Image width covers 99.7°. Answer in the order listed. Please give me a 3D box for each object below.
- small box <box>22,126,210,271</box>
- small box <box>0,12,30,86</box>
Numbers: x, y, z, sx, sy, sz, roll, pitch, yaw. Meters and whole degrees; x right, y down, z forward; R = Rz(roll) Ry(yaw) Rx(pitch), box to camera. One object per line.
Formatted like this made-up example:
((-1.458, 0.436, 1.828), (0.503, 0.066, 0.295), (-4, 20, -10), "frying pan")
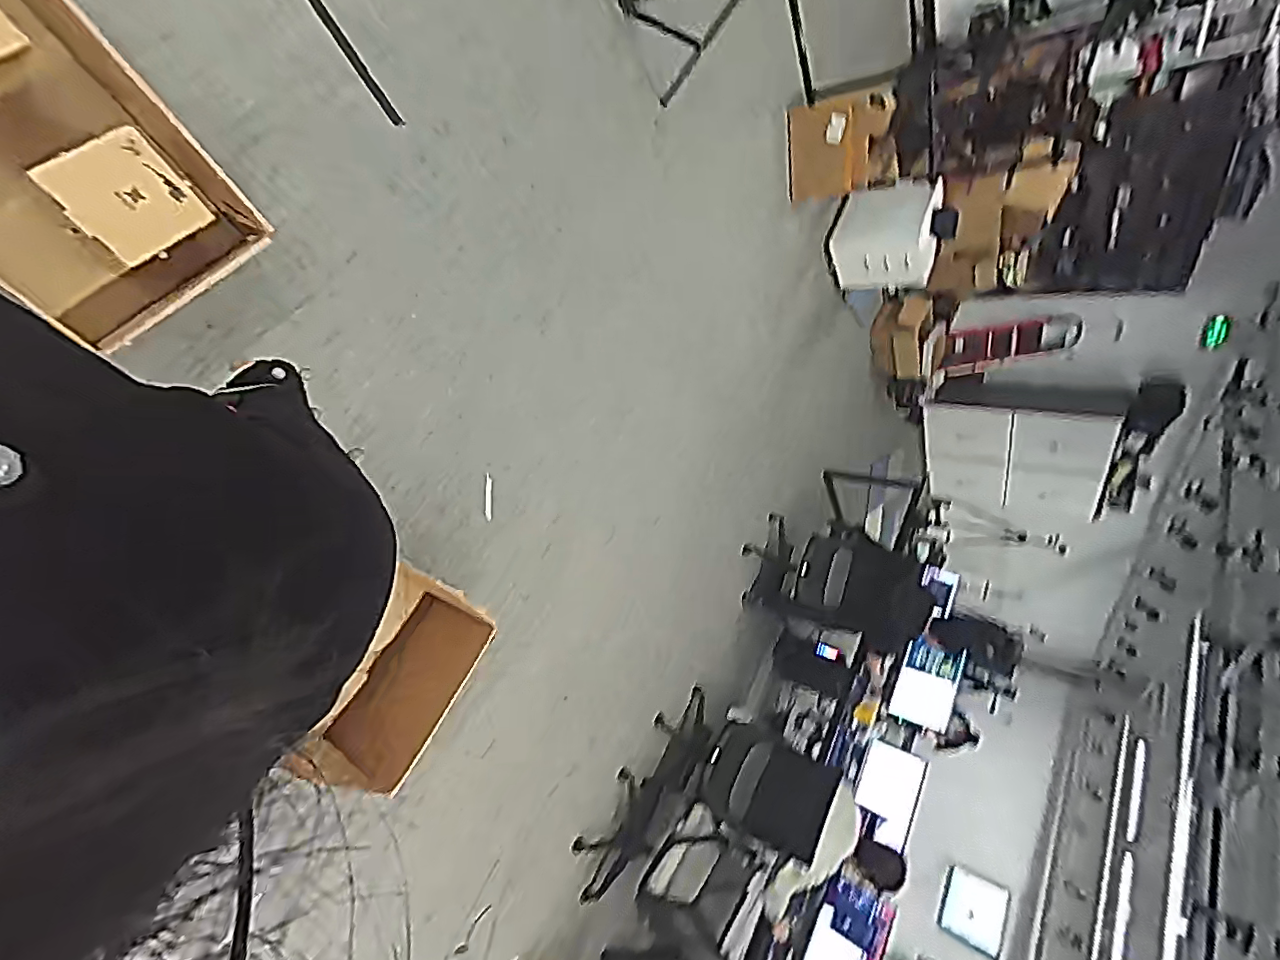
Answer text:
((-0.935, -0.495, 0.973), (0.179, 0.176, 0.168), (-53, 135, -26), "small box")
((-1.056, -0.668, 0.774), (0.168, 0.176, 0.179), (-55, 138, -24), "small box")
